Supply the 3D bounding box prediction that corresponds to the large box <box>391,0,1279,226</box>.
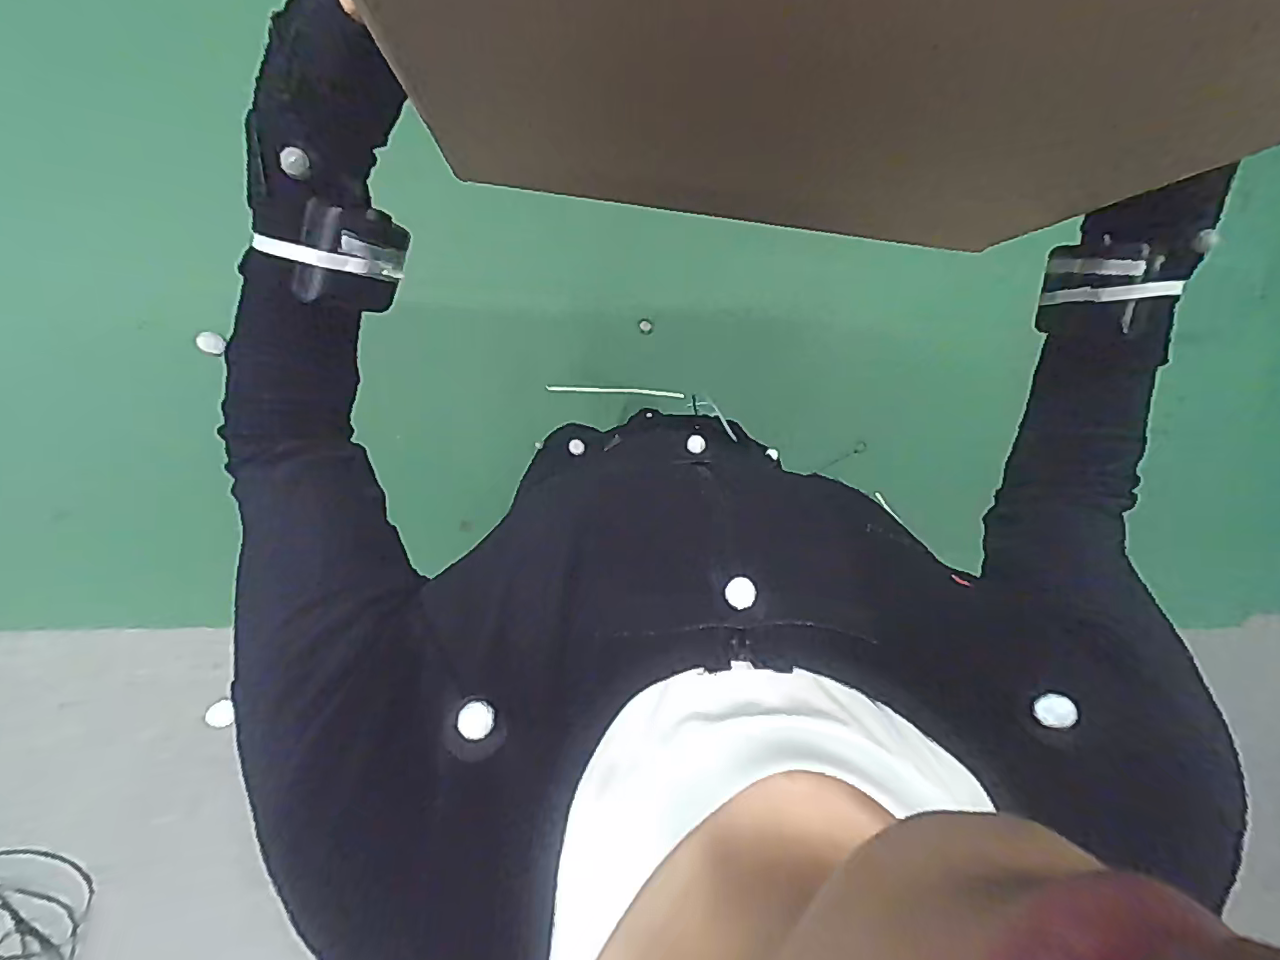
[{"bbox_3d":[0.101,-0.333,0.231,0.408,0.320,0.320,4,100,-8],"label":"large box"}]
